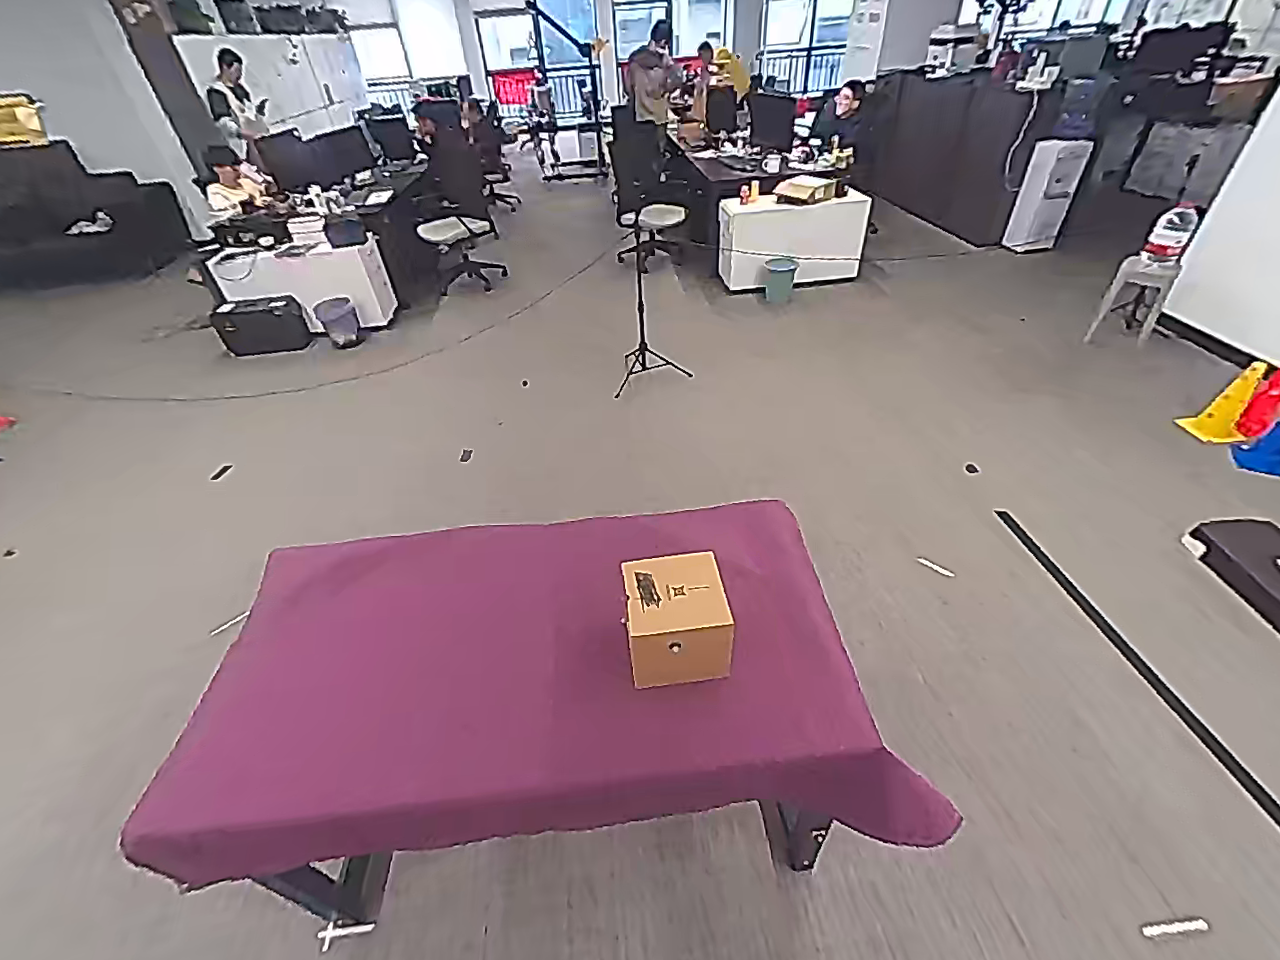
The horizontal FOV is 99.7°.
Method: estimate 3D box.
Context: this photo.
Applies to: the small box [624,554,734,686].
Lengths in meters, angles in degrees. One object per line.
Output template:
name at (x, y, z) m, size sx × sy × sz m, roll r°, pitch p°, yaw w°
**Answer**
small box at (0.068, 0.261, 0.997) m, size 0.179 × 0.176 × 0.168 m, roll -6°, pitch 40°, yaw -2°
